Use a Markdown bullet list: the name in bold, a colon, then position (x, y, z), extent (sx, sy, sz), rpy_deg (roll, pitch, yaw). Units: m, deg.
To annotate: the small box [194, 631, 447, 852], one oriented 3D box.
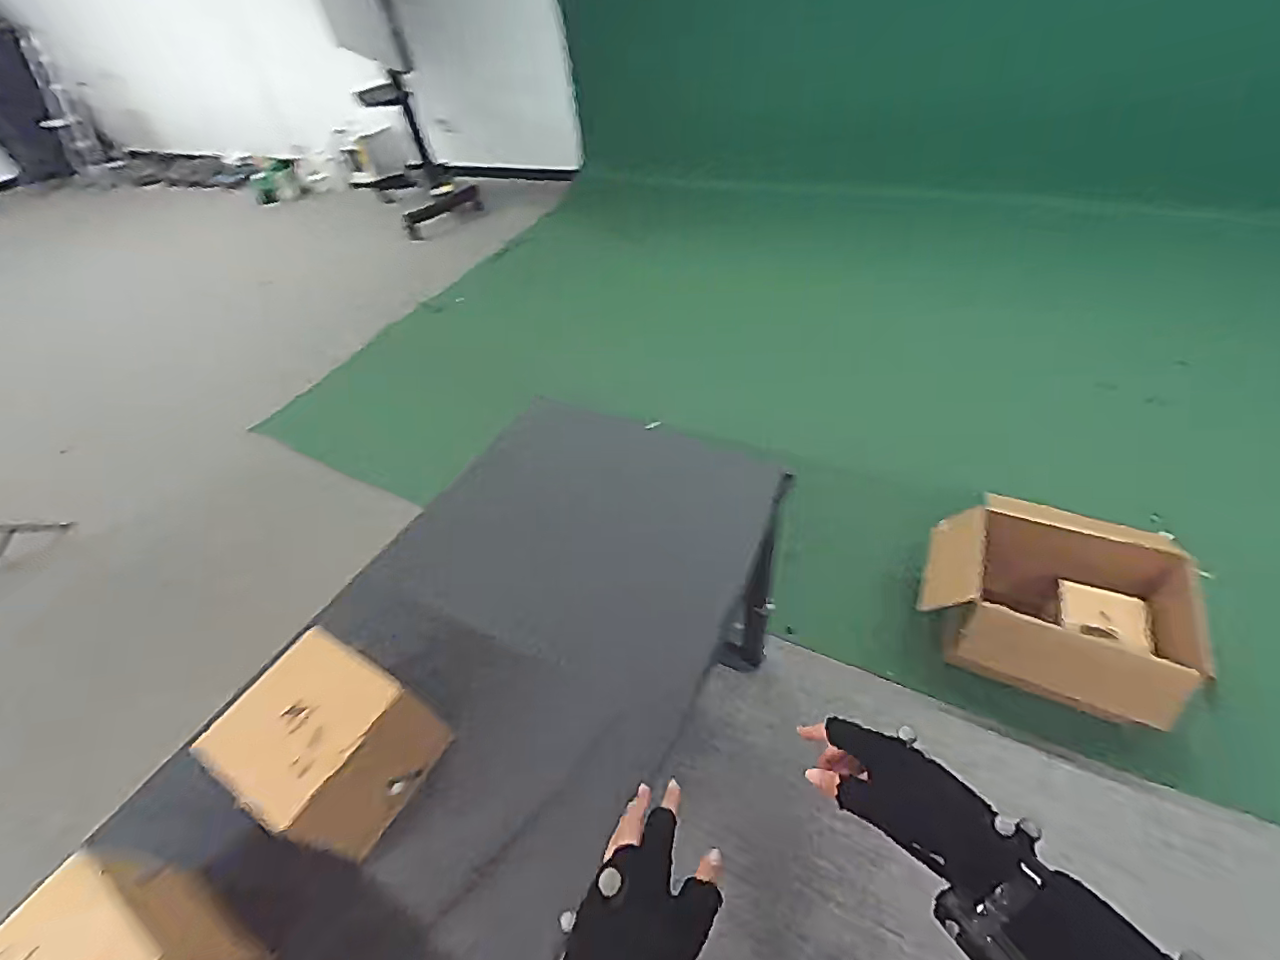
- **small box**: position (-0.381, 0.326, 0.673), extent (0.179, 0.176, 0.168), rpy_deg (20, 54, 24)
